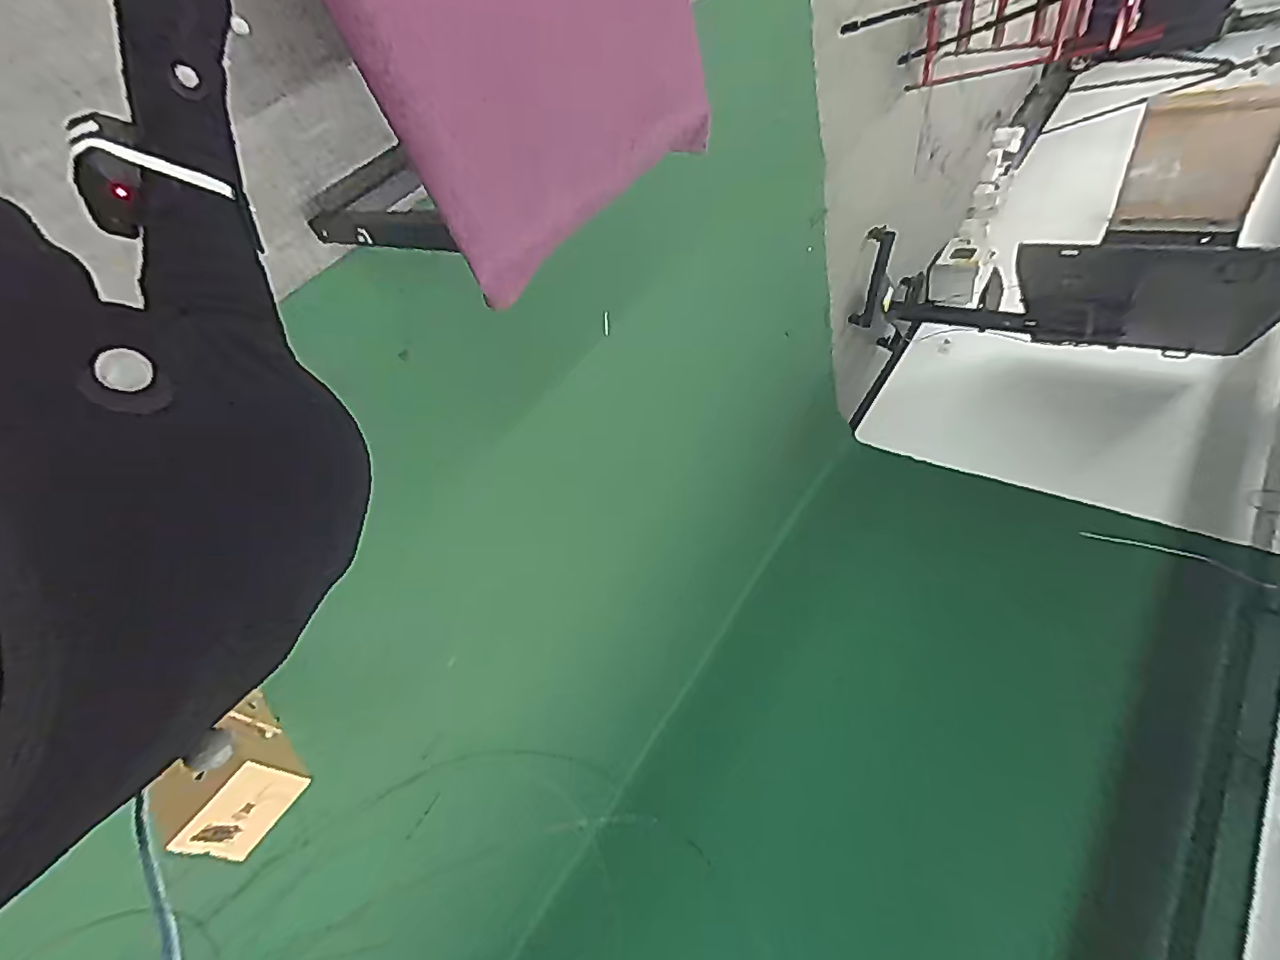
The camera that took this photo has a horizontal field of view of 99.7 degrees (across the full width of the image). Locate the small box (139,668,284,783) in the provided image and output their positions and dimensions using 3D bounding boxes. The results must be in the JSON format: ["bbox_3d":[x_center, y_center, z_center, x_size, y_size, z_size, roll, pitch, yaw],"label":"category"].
[{"bbox_3d":[-0.941,0.546,1.186,0.179,0.176,0.168,-49,139,-22],"label":"small box"}]

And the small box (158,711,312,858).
[{"bbox_3d":[-0.819,0.610,1.091,0.179,0.176,0.168,-48,141,-23],"label":"small box"}]
